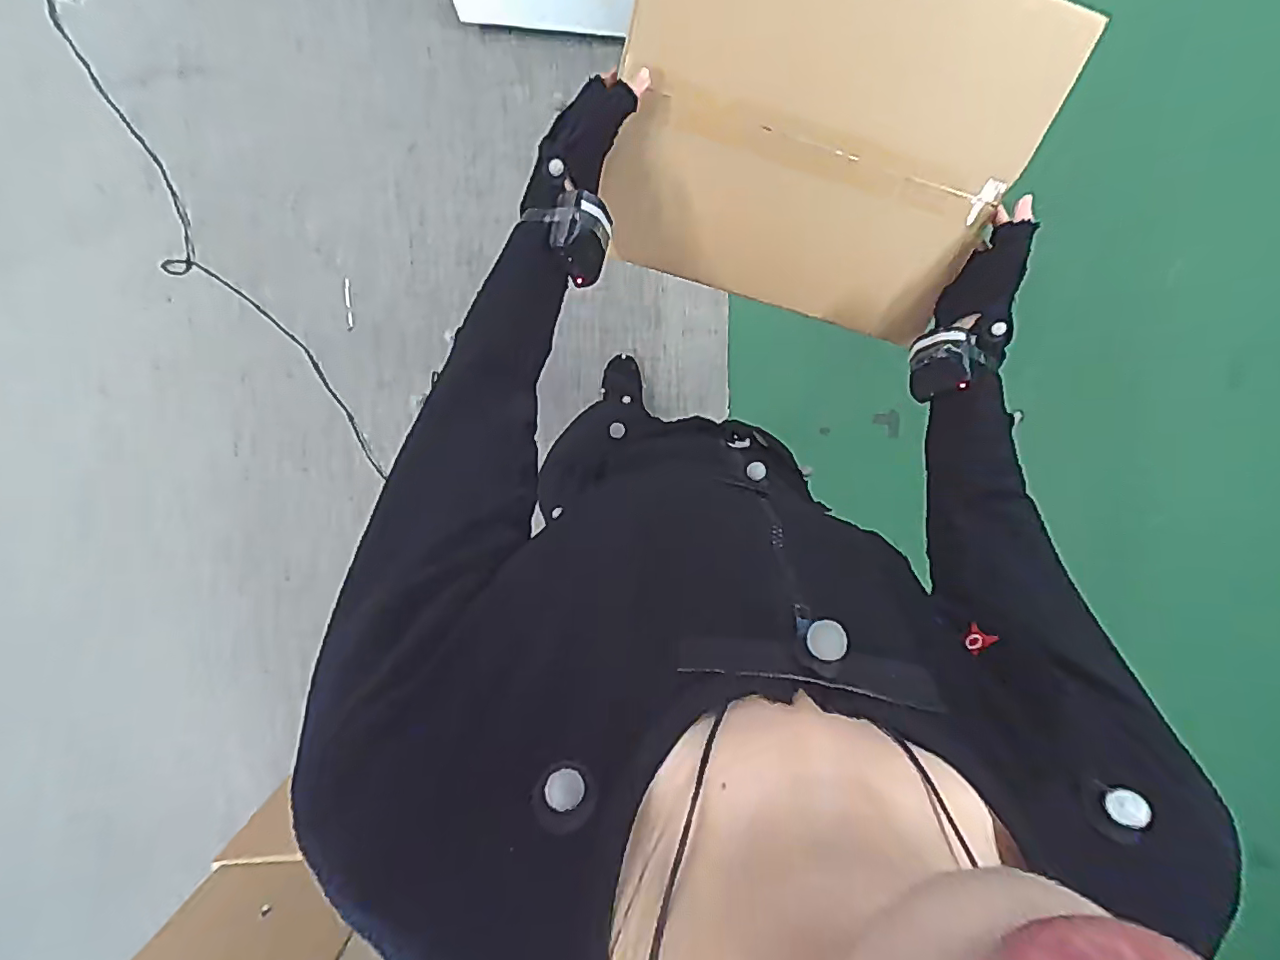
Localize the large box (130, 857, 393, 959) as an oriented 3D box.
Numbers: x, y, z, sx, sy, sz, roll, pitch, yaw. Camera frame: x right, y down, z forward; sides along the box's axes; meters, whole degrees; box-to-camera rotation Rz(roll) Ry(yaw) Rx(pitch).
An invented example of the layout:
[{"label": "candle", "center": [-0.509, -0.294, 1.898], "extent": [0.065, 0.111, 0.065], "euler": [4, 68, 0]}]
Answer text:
[{"label": "large box", "center": [-0.784, 1.059, 1.135], "extent": [0.408, 0.320, 0.320], "euler": [-1, 93, -3]}]
